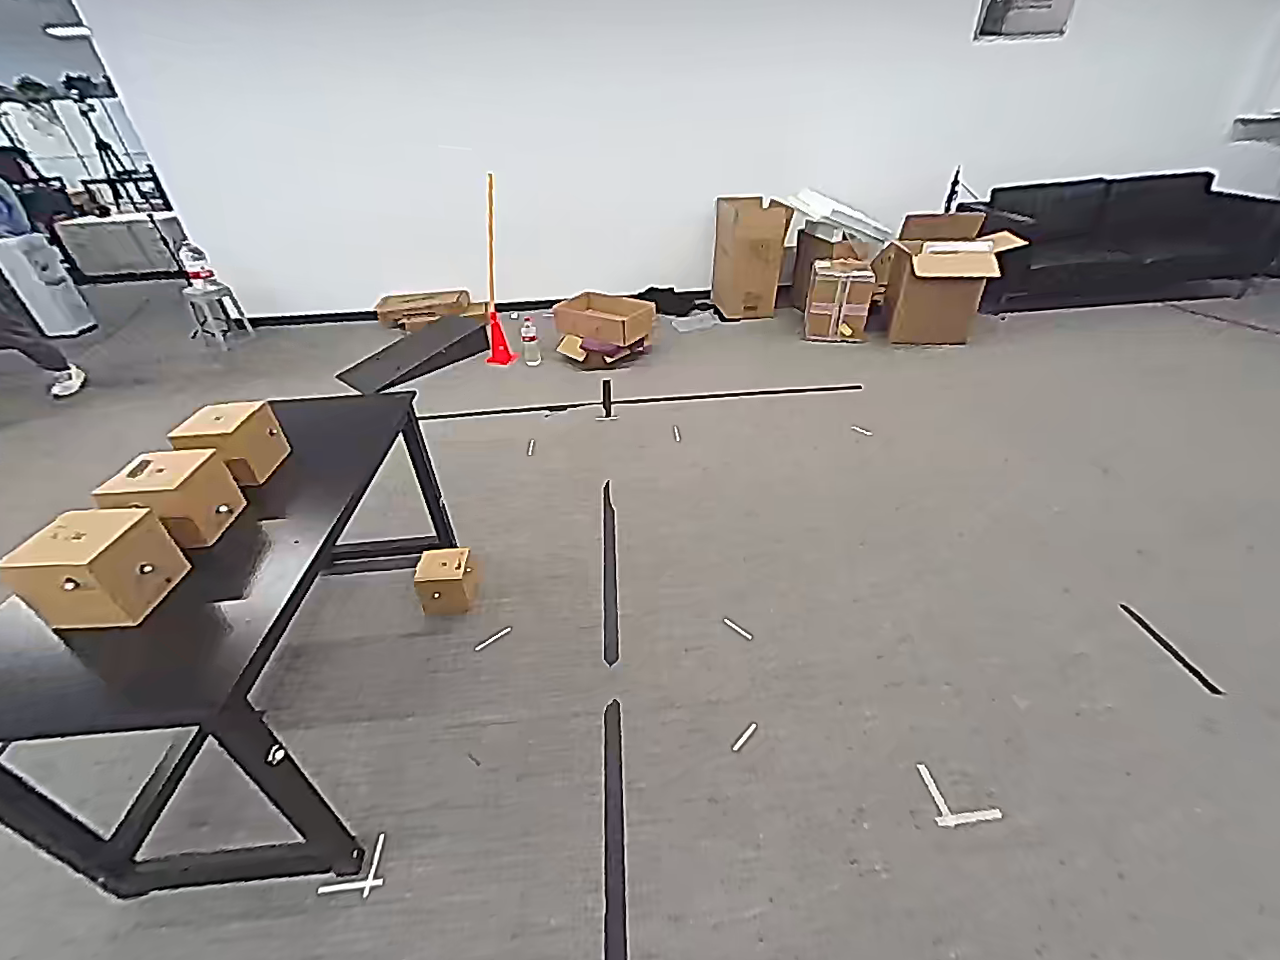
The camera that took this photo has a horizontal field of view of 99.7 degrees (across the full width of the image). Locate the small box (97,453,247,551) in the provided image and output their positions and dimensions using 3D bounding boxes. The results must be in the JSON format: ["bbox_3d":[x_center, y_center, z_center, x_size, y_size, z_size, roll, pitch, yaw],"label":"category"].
[{"bbox_3d":[-1.080,0.054,1.266,0.179,0.176,0.168,-4,35,-3],"label":"small box"}]

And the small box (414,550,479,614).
[{"bbox_3d":[-0.721,0.387,2.033,0.179,0.176,0.168,-5,36,-2],"label":"small box"}]

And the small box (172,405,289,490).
[{"bbox_3d":[-1.097,-0.086,1.470,0.168,0.176,0.179,-6,35,-1],"label":"small box"}]

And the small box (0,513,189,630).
[{"bbox_3d":[-1.071,0.183,1.082,0.179,0.176,0.168,-3,35,1],"label":"small box"}]
